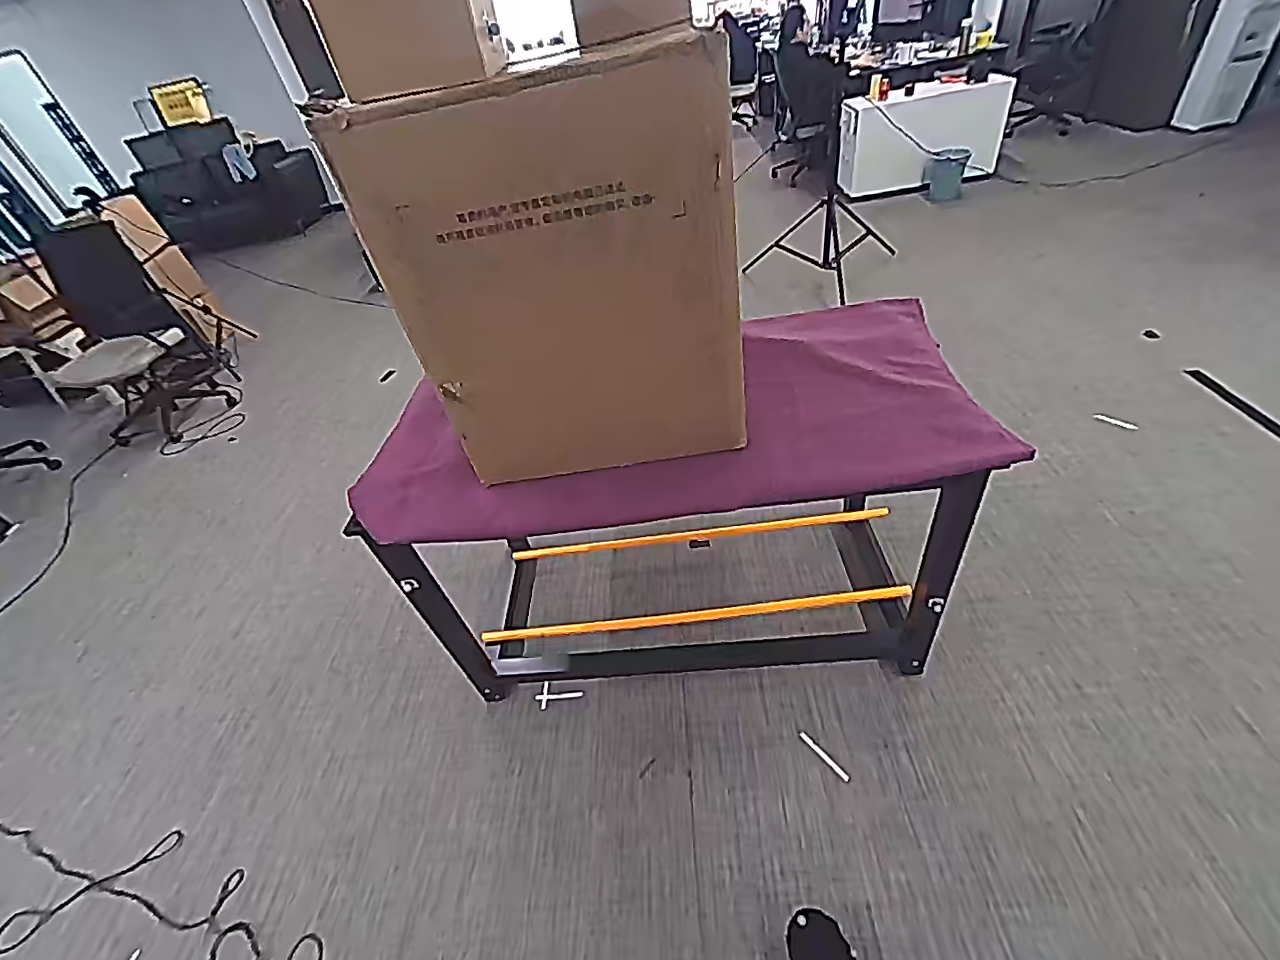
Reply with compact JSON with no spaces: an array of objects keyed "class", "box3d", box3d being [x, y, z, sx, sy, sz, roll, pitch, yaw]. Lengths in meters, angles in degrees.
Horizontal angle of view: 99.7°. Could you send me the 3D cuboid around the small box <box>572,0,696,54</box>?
[{"class":"small box","box3d":[-0.010,-0.760,0.800,0.179,0.176,0.168,-5,42,10]}]
